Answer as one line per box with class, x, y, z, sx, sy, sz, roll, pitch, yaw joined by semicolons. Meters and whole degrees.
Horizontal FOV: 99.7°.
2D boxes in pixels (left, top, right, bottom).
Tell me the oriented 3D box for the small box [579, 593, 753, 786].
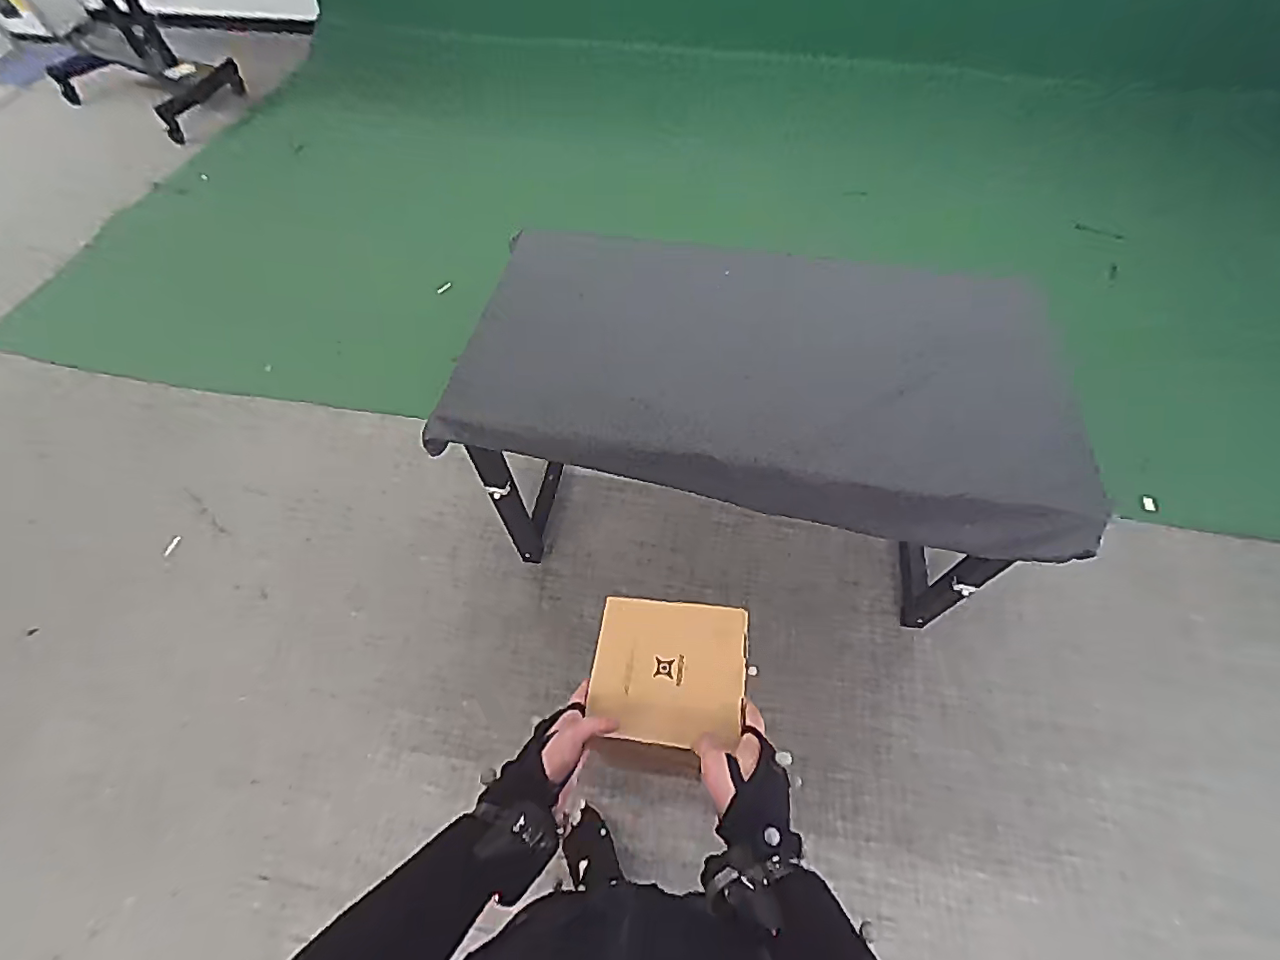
small box;0.043;0.262;0.668;0.179;0.176;0.168;4;50;12
